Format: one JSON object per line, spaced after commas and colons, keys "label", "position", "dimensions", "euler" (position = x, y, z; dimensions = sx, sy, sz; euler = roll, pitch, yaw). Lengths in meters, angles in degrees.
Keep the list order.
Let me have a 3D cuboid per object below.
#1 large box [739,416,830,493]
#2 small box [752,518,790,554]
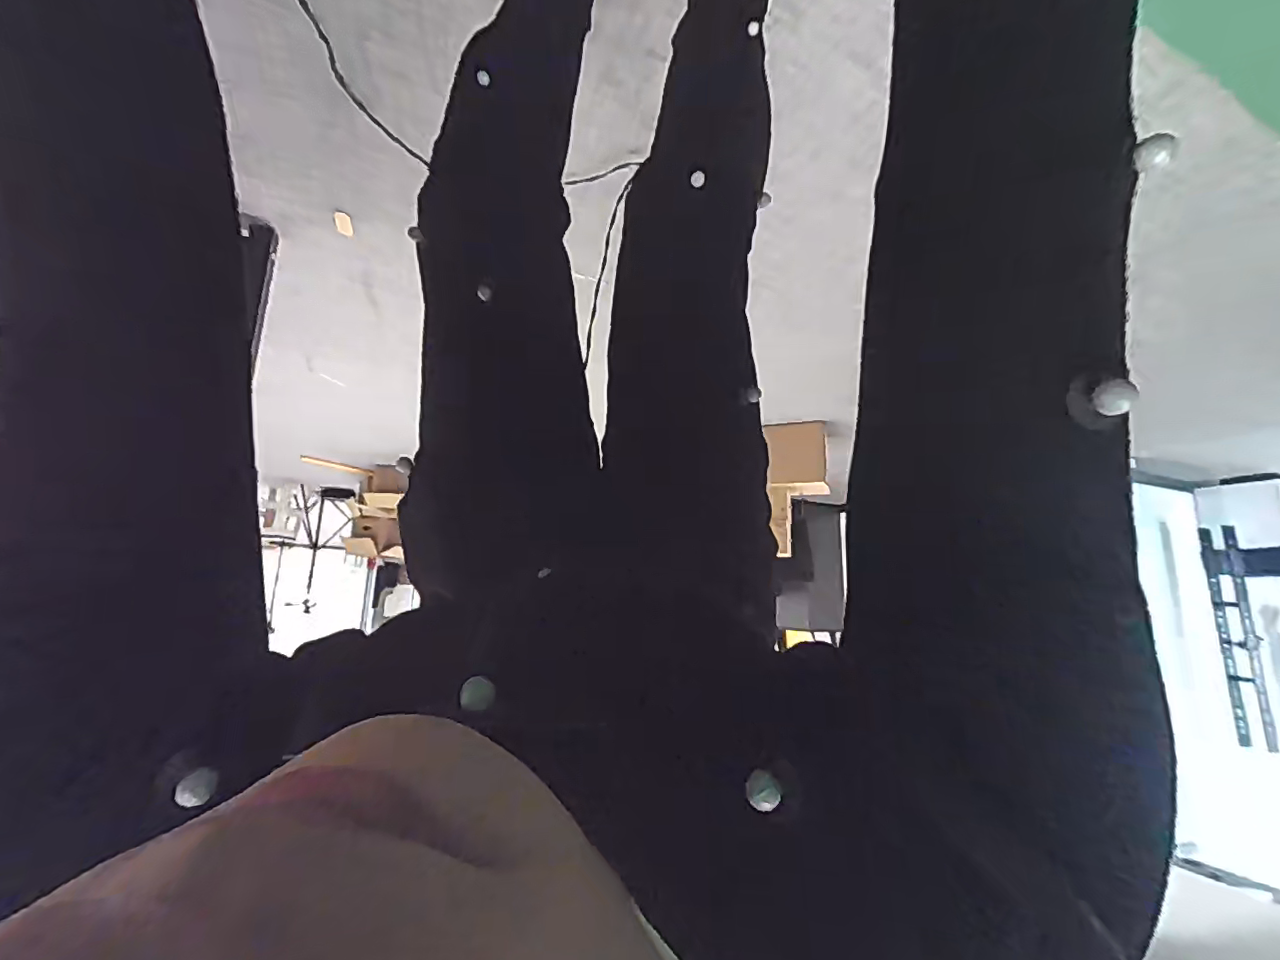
{"label": "large box", "position": [0.745, -0.119, 2.780], "dimensions": [0.408, 0.320, 0.320], "euler": [-4, 168, 22]}
{"label": "small box", "position": [0.652, 0.278, 2.690], "dimensions": [0.168, 0.176, 0.179], "euler": [-3, 168, 21]}
